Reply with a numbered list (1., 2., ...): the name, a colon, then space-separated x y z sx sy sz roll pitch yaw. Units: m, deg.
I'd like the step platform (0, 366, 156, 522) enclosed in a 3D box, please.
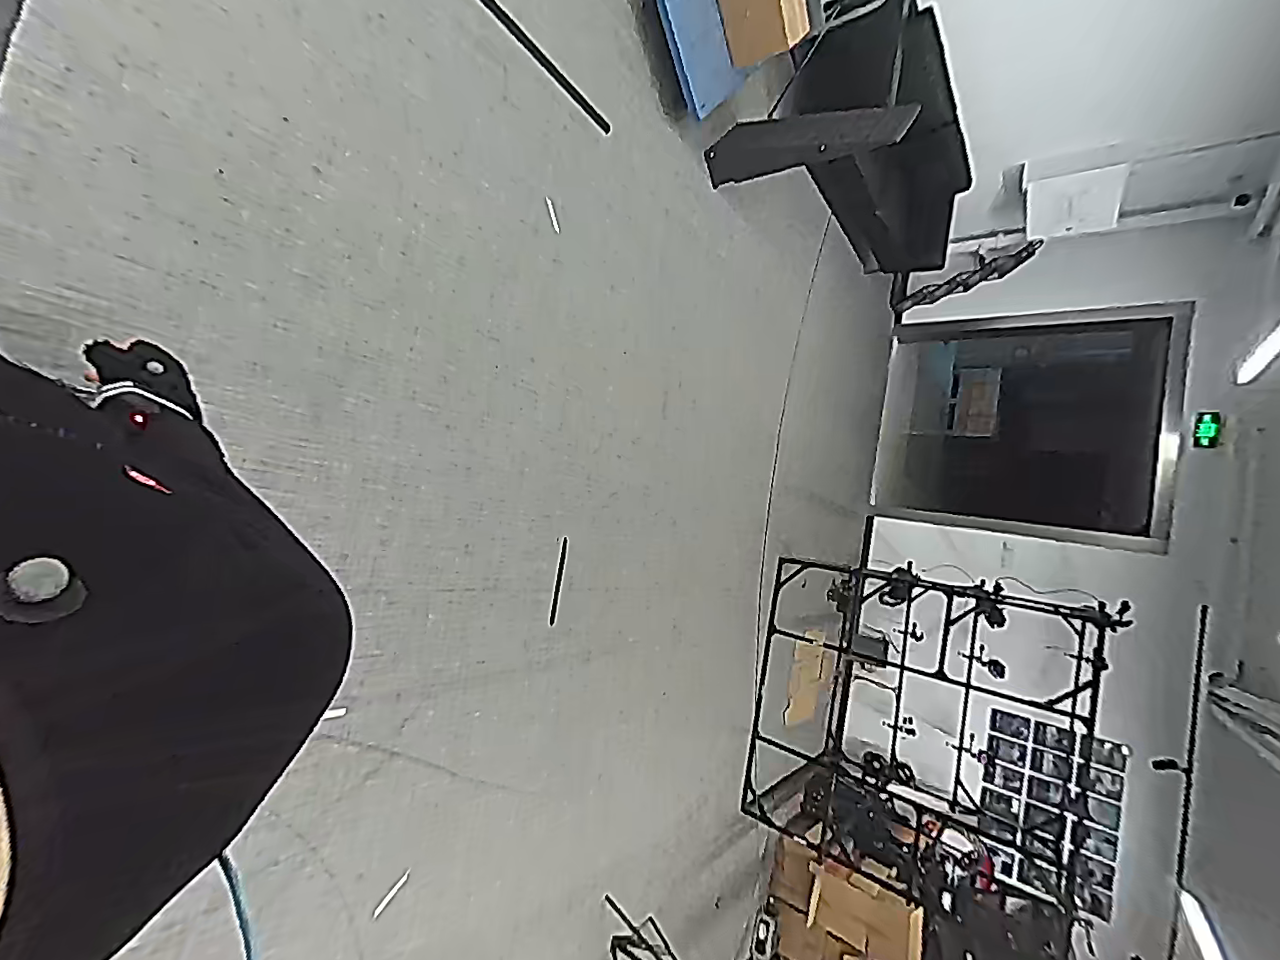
1. step platform: -1.309 -0.094 0.947 0.684 0.204 0.286 13 86 -54
